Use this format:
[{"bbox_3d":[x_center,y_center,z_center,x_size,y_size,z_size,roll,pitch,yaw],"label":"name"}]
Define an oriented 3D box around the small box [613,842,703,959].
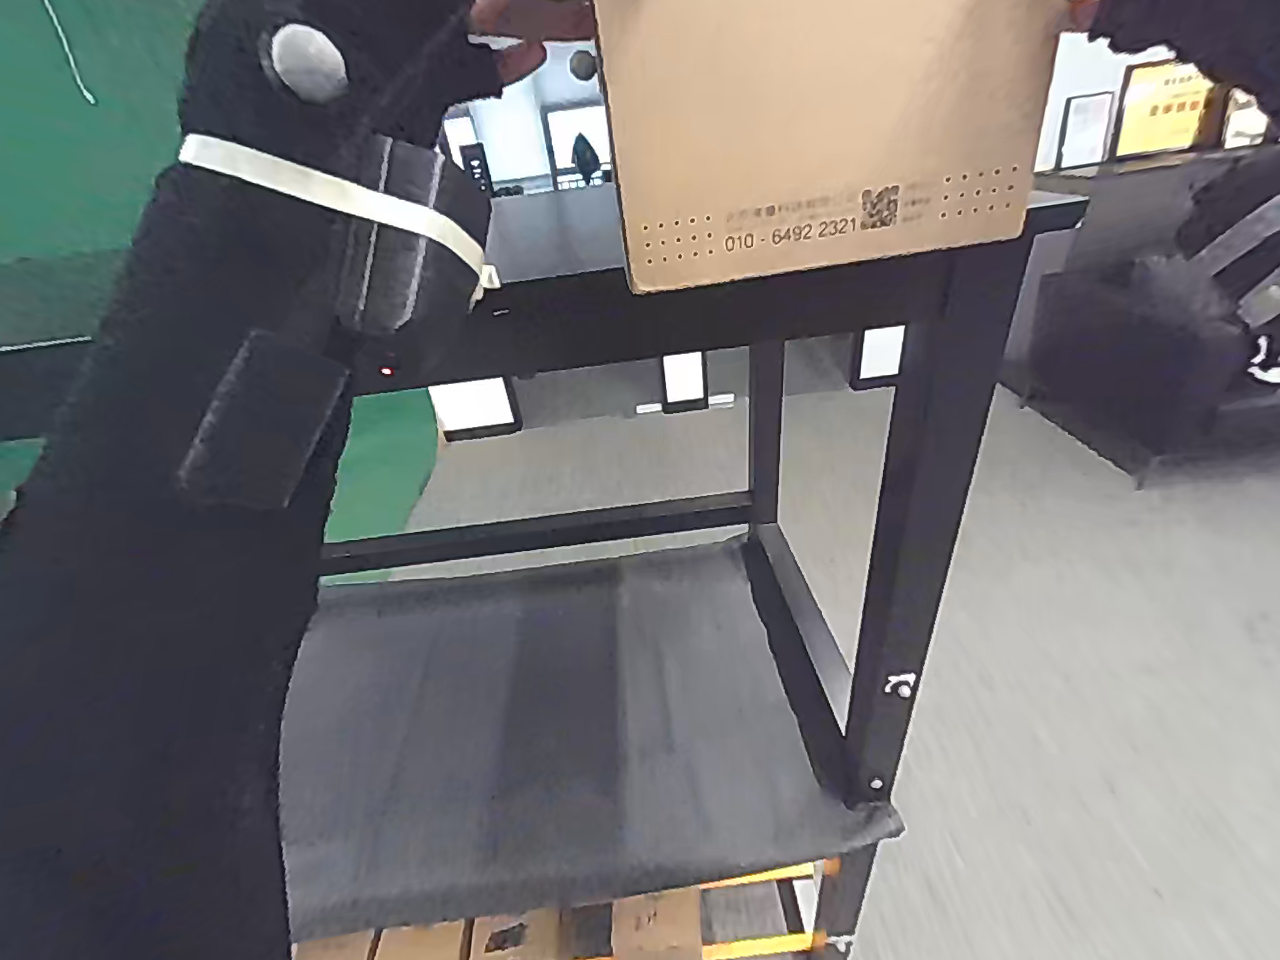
[{"bbox_3d":[0.041,0.887,1.124,0.168,0.176,0.179,-5,35,6],"label":"small box"}]
